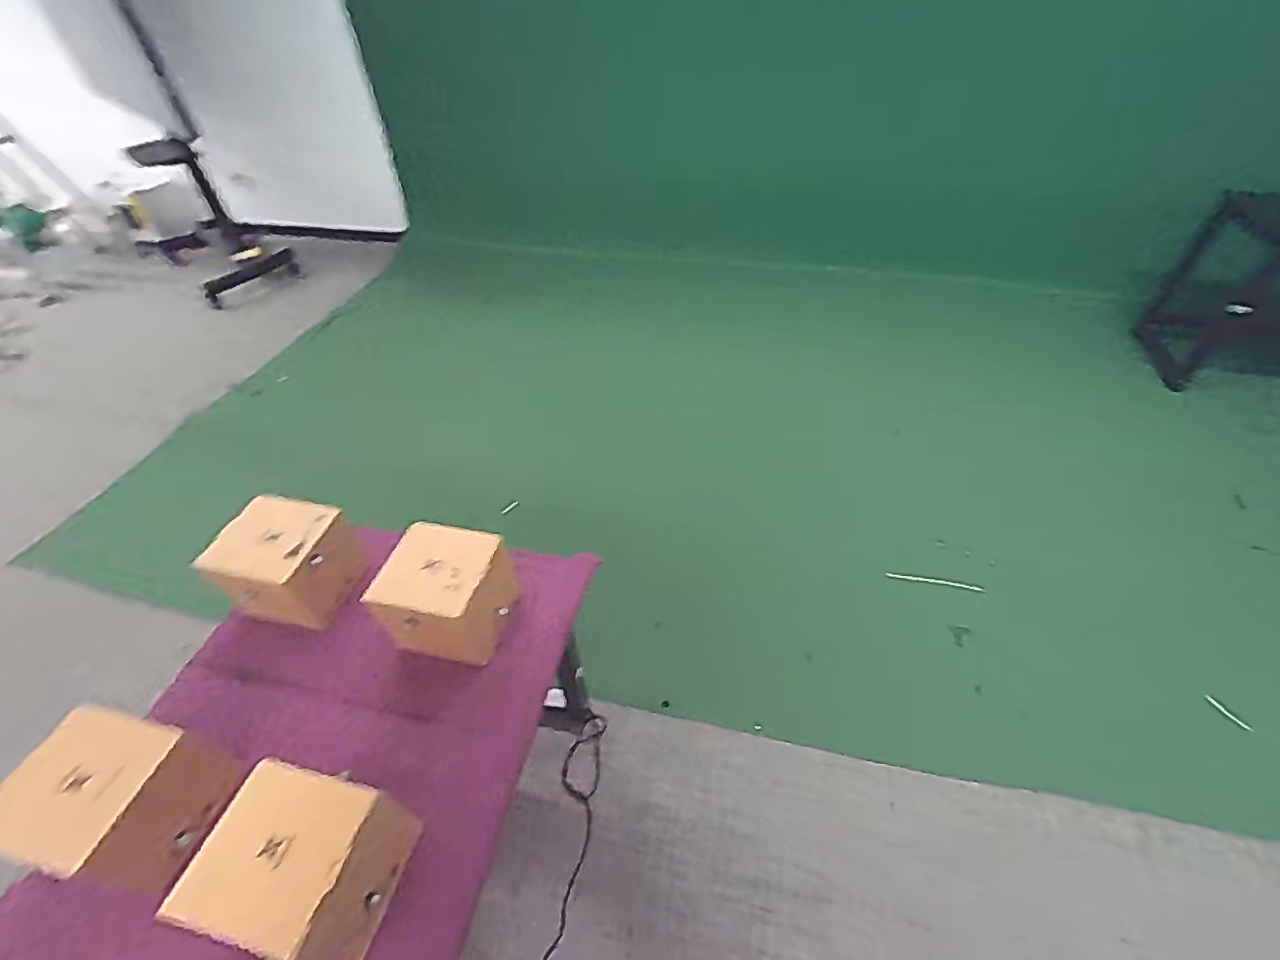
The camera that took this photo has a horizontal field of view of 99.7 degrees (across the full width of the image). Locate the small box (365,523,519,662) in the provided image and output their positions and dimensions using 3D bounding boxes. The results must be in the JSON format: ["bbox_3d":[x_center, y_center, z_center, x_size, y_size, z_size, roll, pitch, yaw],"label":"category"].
[{"bbox_3d":[-0.339,0.202,0.964,0.179,0.176,0.168,8,47,11],"label":"small box"}]

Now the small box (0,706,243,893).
[{"bbox_3d":[-0.714,0.441,0.745,0.179,0.176,0.168,10,47,9],"label":"small box"}]

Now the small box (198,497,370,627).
[{"bbox_3d":[-0.653,0.157,1.017,0.179,0.176,0.168,9,48,8],"label":"small box"}]

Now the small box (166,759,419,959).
[{"bbox_3d":[-0.421,0.489,0.690,0.179,0.176,0.168,8,46,11],"label":"small box"}]
